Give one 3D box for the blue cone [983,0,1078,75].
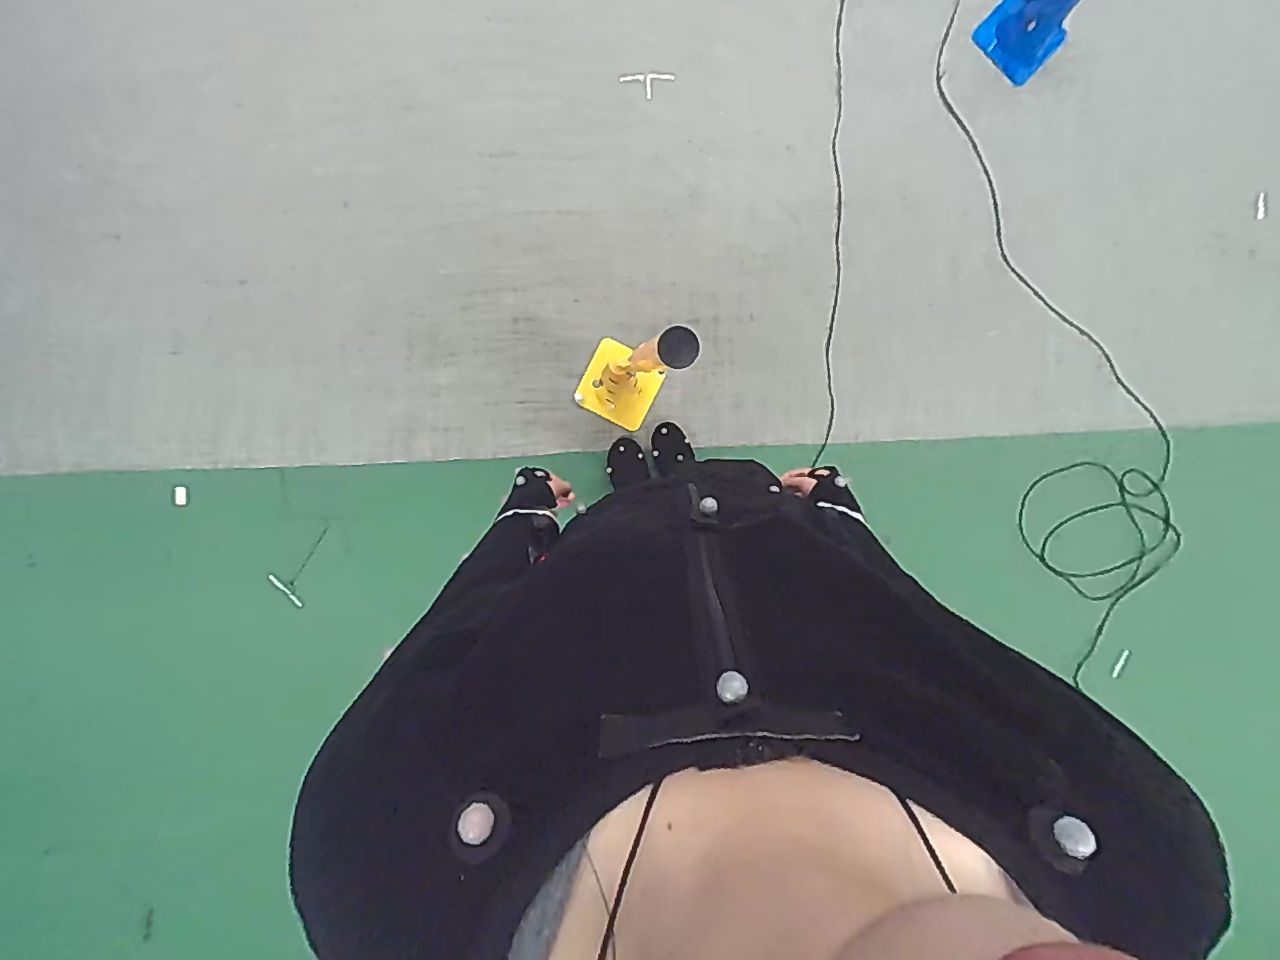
[{"bbox_3d":[1.035,-1.206,1.280,0.192,0.380,0.193,42,89,-2],"label":"blue cone"}]
